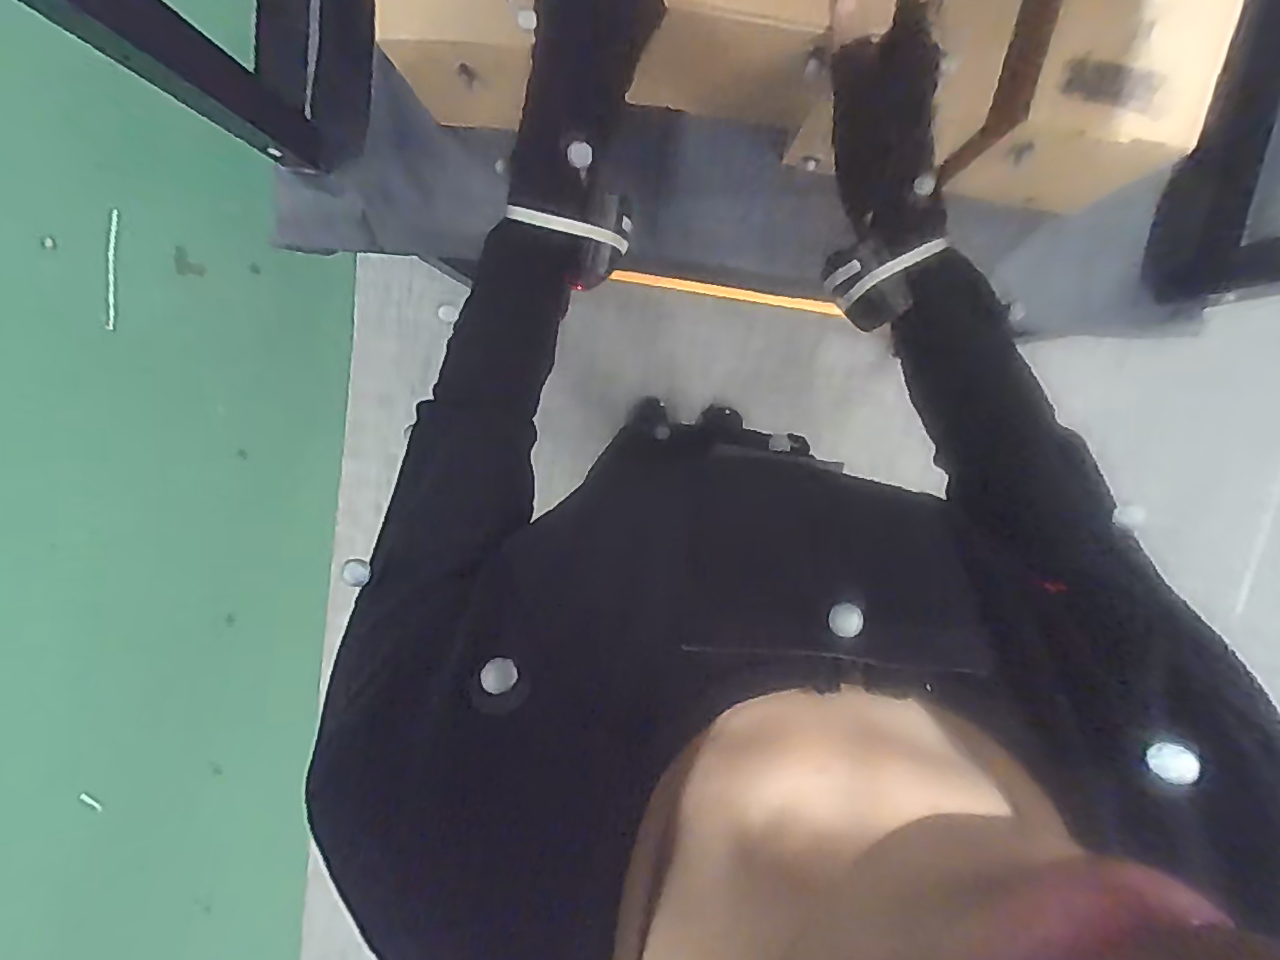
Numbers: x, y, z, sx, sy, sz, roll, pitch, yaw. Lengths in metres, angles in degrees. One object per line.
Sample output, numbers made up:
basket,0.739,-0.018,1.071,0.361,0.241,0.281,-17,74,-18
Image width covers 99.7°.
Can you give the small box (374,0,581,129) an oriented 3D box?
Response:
small box,-0.167,-0.518,0.598,0.179,0.176,0.168,4,99,0
